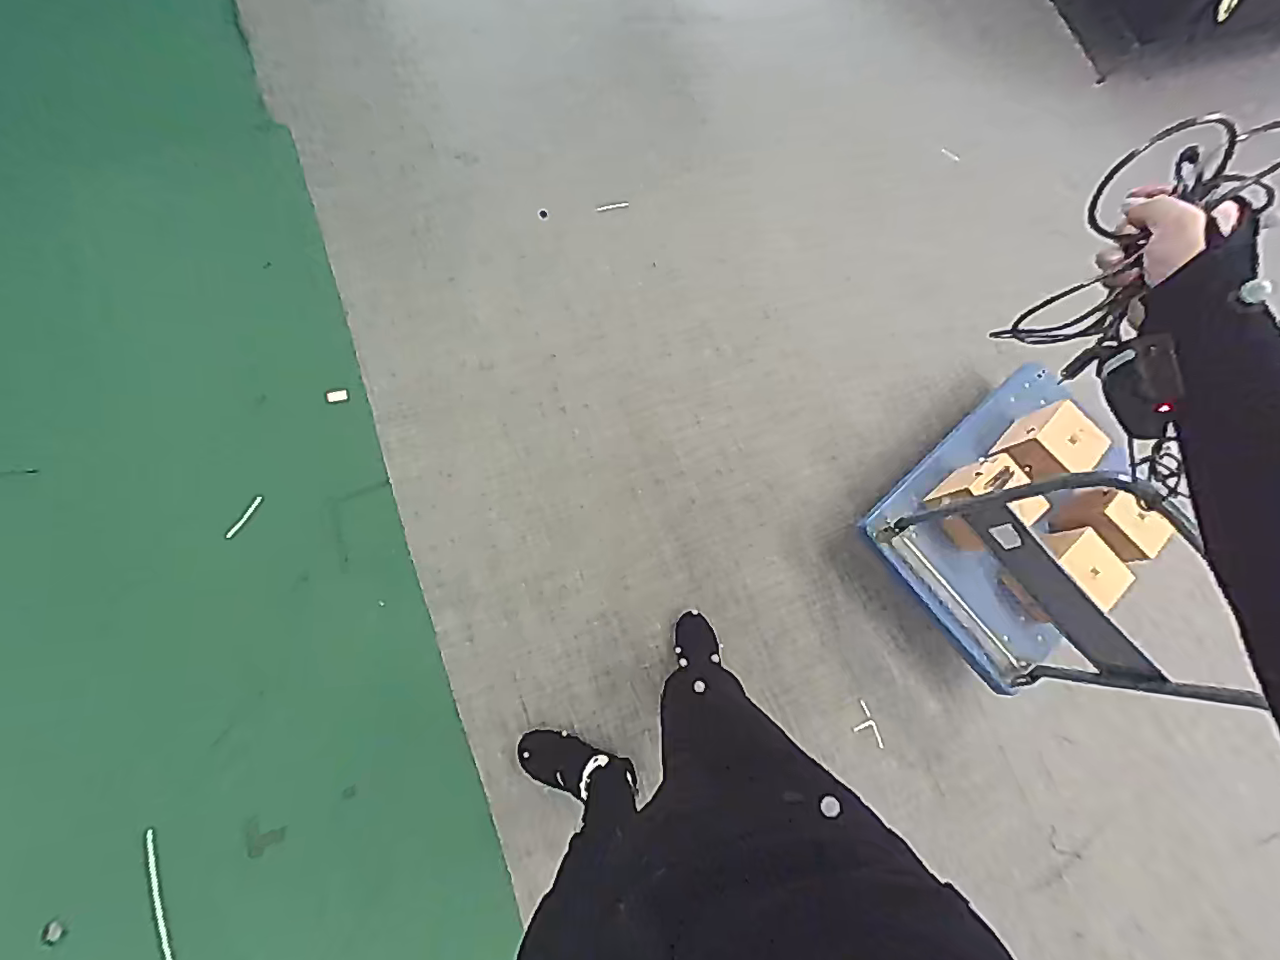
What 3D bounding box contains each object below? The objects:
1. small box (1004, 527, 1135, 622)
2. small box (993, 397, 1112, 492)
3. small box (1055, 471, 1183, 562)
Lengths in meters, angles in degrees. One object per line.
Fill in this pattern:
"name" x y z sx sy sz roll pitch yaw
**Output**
"small box" 1.097 0.247 1.396 0.179 0.176 0.168 -36 83 -16
"small box" 1.124 -0.090 1.490 0.179 0.176 0.168 -41 86 -17
"small box" 1.286 0.107 1.464 0.179 0.176 0.168 -40 84 -16
